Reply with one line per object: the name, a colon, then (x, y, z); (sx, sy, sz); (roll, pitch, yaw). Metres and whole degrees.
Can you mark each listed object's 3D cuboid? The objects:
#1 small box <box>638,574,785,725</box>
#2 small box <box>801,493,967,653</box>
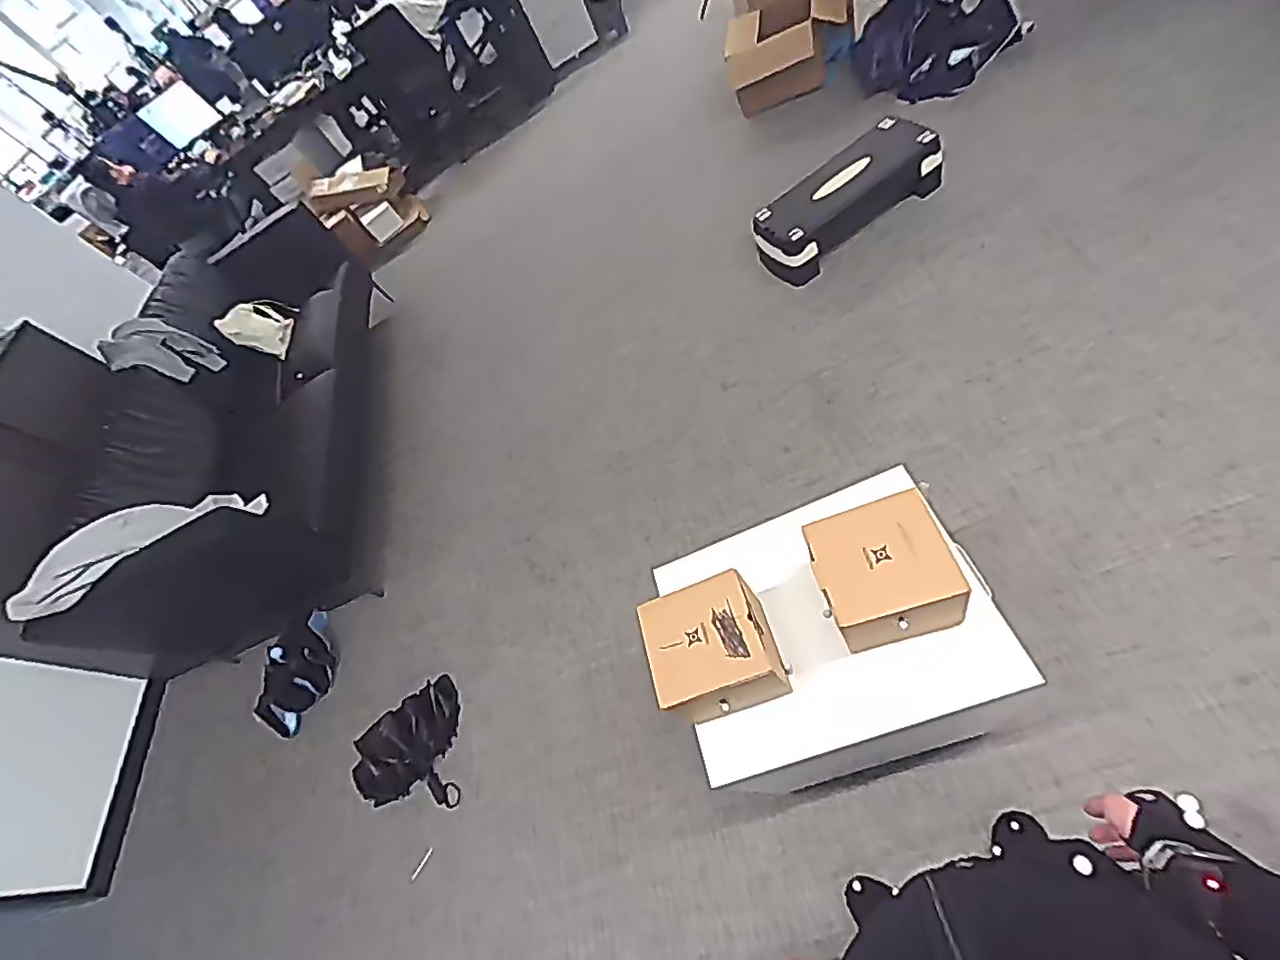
small box: (0.121, 0.279, 0.873); (0.179, 0.176, 0.168); (-25, 52, 13)
small box: (0.368, 0.151, 0.825); (0.179, 0.176, 0.168); (-21, 55, 14)
